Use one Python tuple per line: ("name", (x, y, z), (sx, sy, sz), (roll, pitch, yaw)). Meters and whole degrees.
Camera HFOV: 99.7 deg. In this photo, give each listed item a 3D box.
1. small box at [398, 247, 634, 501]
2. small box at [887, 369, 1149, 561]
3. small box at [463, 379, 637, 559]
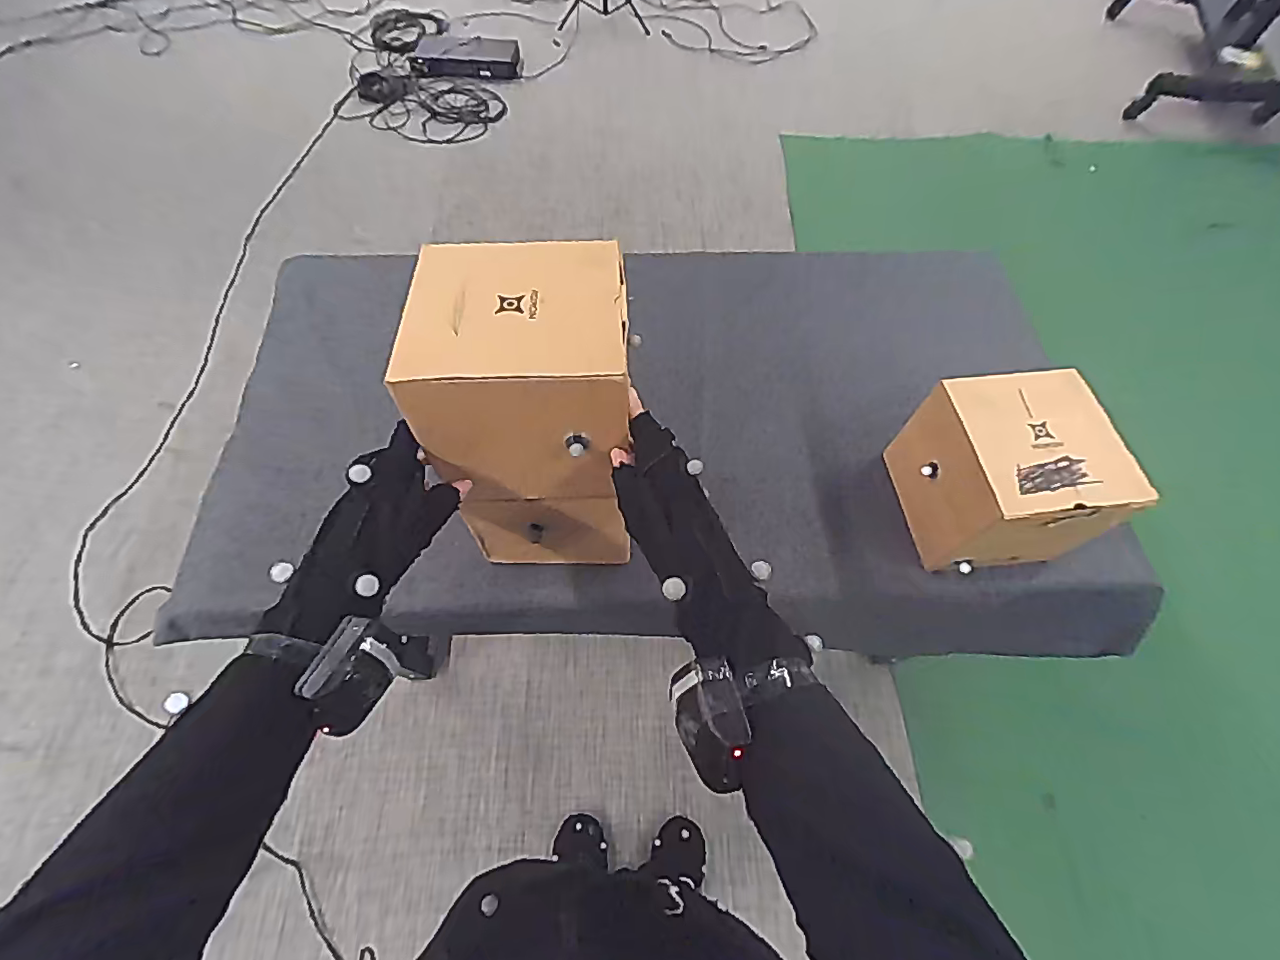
("small box", (-0.094, -0.093, 0.509), (0.179, 0.176, 0.168), (-3, 56, 0))
("small box", (0.433, -0.009, 0.658), (0.168, 0.176, 0.179), (-5, 61, -3))
("small box", (-0.093, -0.009, 0.653), (0.179, 0.176, 0.168), (0, 61, 0))
